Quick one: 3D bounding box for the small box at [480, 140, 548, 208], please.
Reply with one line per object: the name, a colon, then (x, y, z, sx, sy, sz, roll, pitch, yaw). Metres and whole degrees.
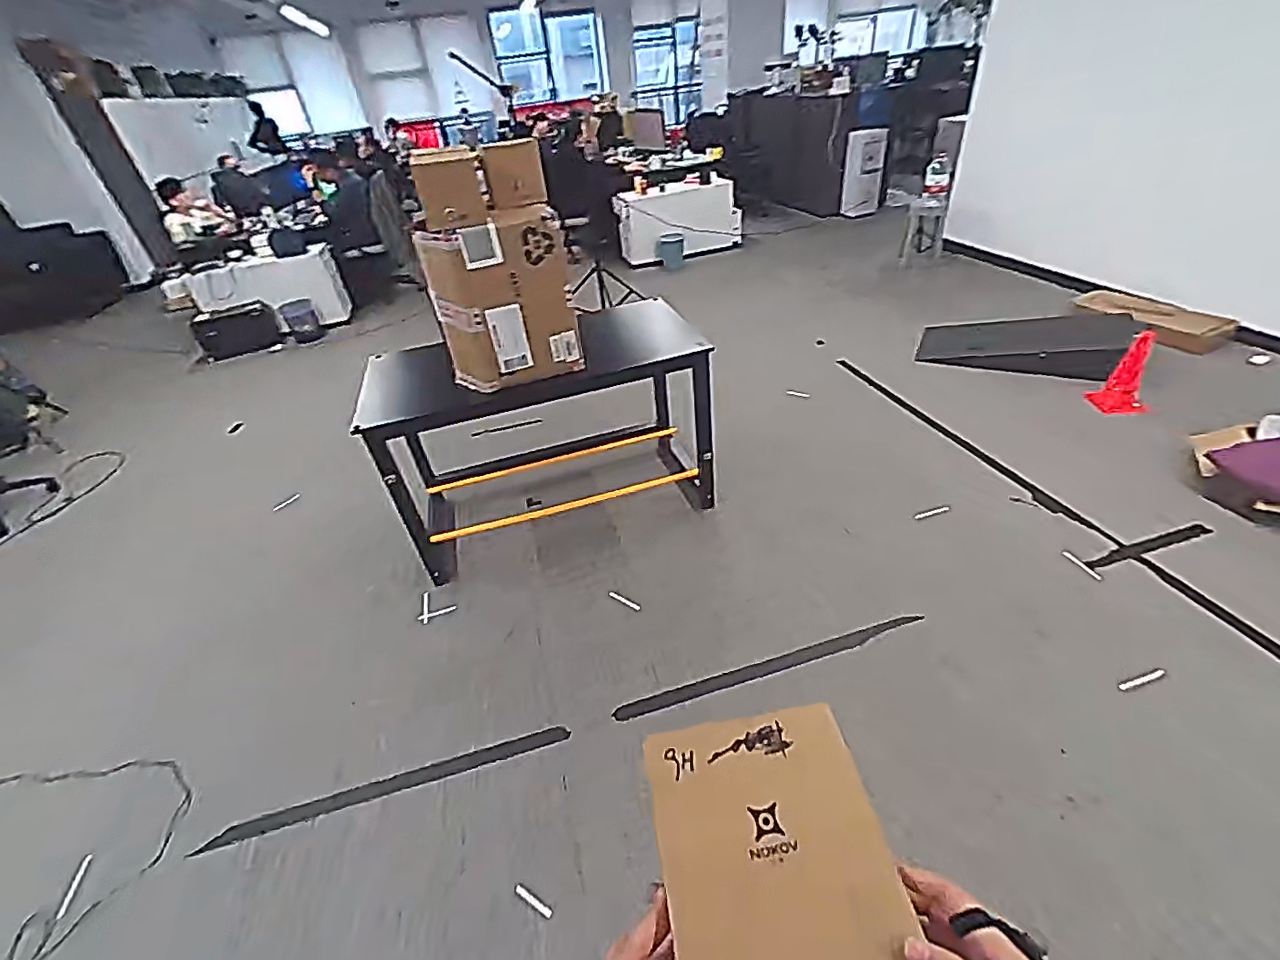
small box: (-0.401, -0.974, 1.720, 0.168, 0.176, 0.179, -17, 36, -13)

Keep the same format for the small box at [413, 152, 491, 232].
small box: (-0.526, -0.809, 1.517, 0.168, 0.176, 0.179, -16, 40, -13)
